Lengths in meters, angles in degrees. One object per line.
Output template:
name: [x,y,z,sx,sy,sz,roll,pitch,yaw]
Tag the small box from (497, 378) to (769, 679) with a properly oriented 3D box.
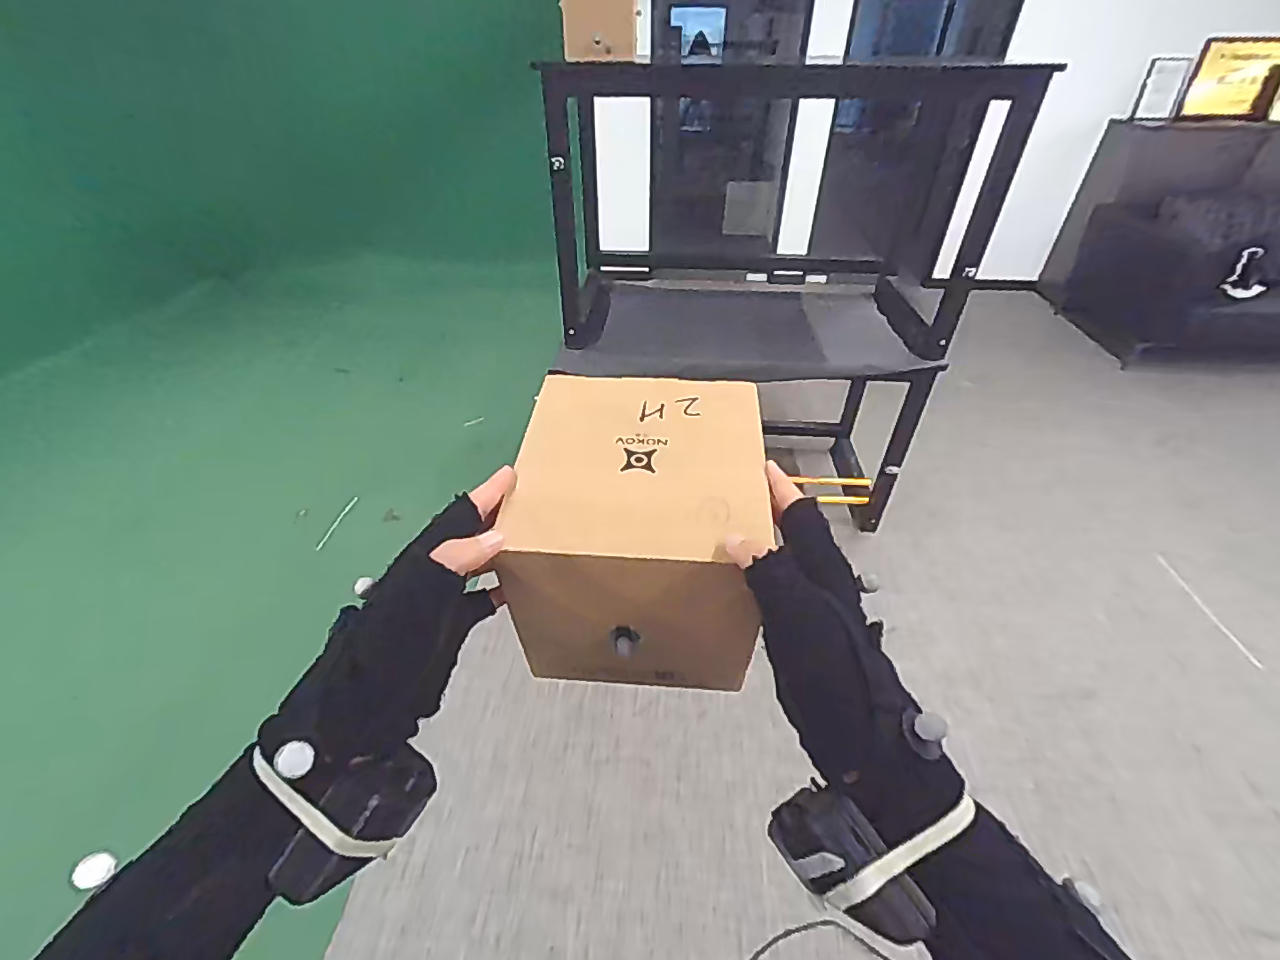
small box: [0.003,0.039,0.429,0.168,0.176,0.179,3,44,3]
